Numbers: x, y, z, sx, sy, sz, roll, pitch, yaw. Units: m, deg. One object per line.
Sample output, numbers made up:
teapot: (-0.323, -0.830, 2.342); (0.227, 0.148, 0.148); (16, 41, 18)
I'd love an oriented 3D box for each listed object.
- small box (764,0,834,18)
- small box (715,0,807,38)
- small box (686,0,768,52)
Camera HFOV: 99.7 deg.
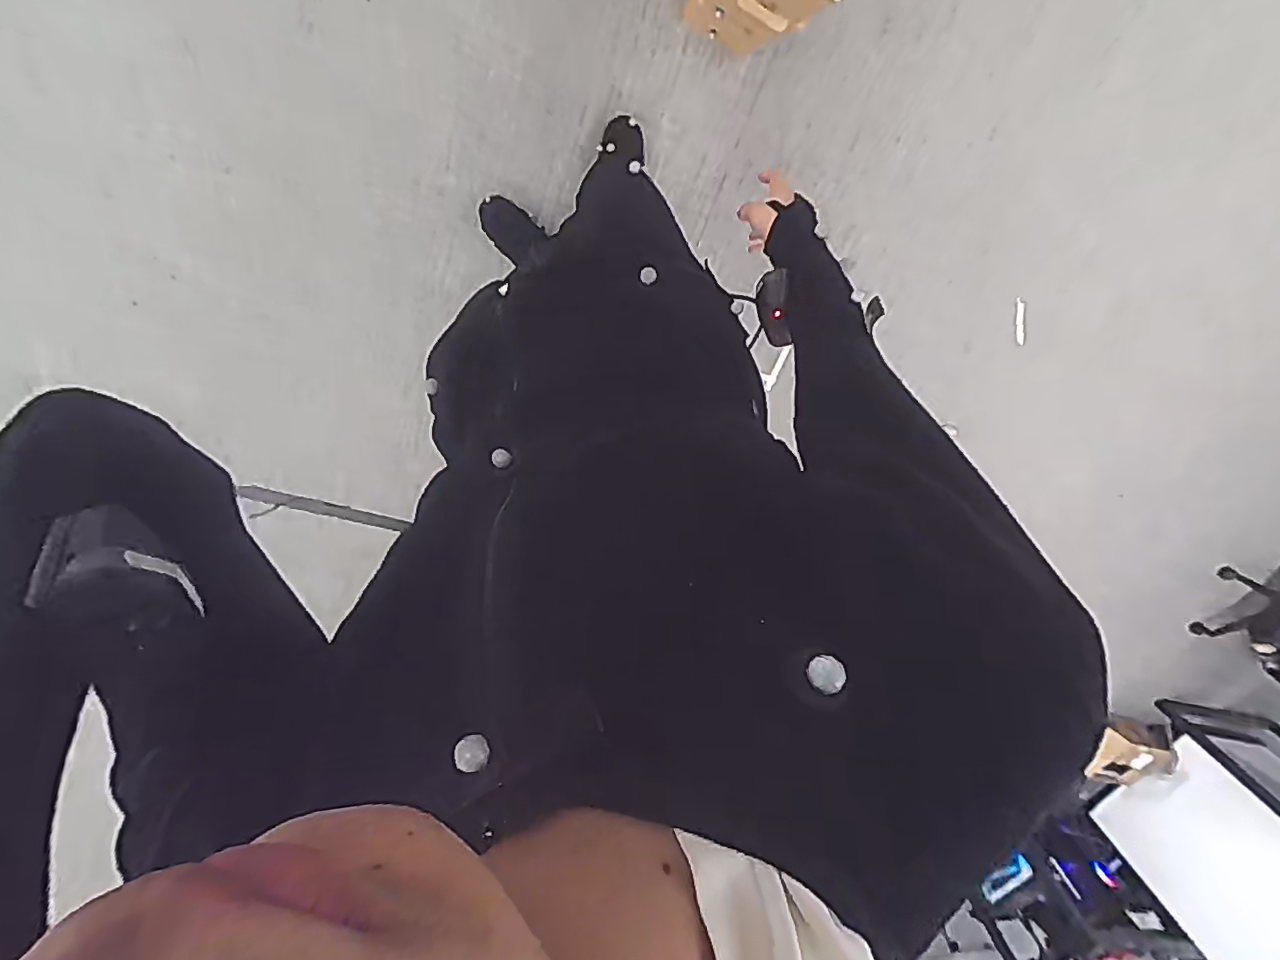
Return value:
small box: (0.255, -0.875, 0.840); (0.168, 0.176, 0.179); (17, 115, -19)
small box: (0.243, -0.954, 0.985); (0.168, 0.176, 0.179); (17, 116, -19)
small box: (0.211, -1.037, 1.122); (0.168, 0.176, 0.179); (17, 117, -19)
